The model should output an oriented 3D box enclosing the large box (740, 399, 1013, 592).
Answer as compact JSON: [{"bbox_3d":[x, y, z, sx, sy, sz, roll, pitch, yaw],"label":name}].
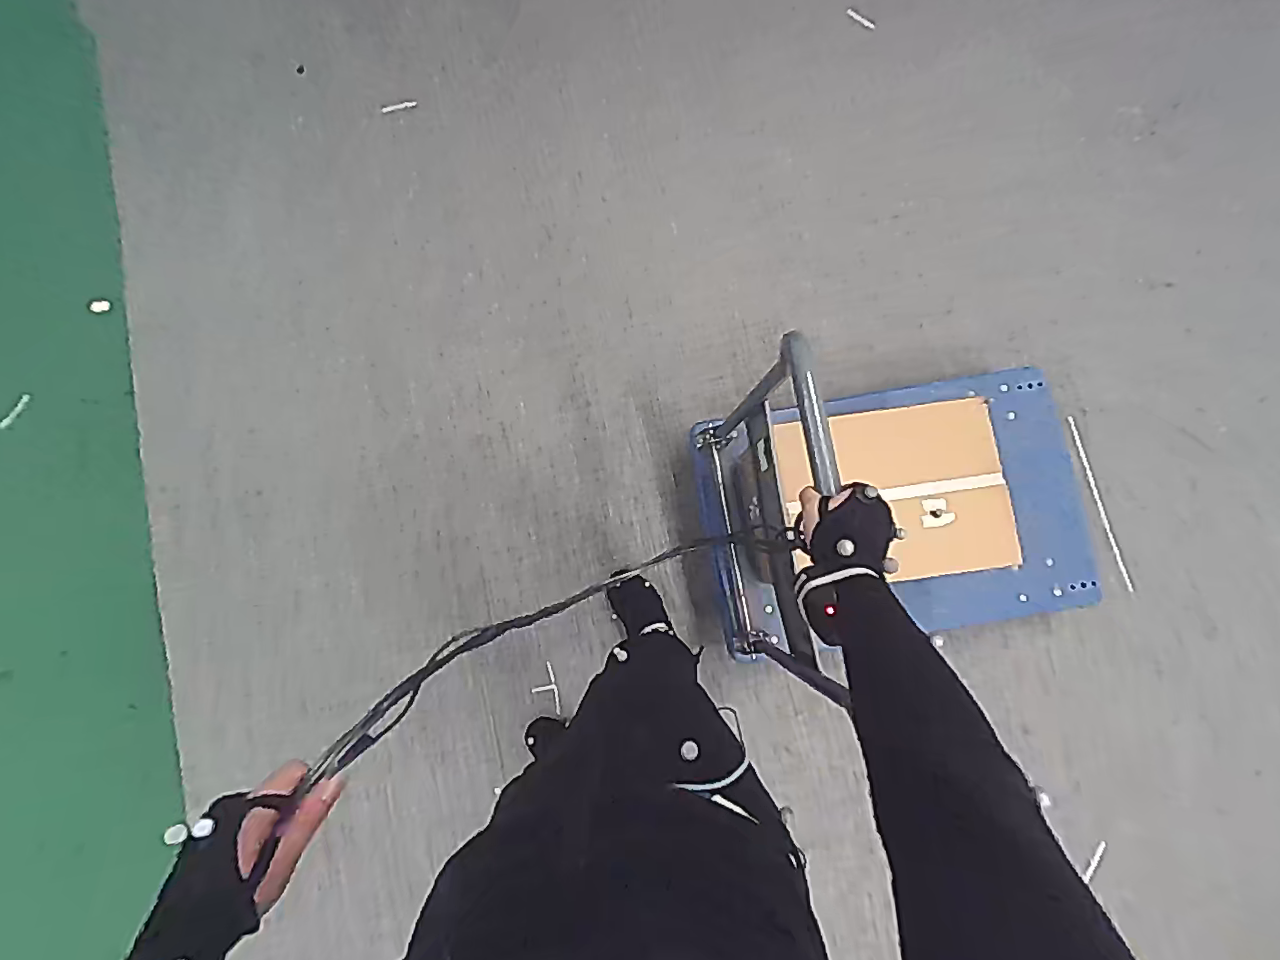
[{"bbox_3d":[0.454,0.043,1.132,0.408,0.320,0.320,-7,83,-1],"label":"large box"}]
